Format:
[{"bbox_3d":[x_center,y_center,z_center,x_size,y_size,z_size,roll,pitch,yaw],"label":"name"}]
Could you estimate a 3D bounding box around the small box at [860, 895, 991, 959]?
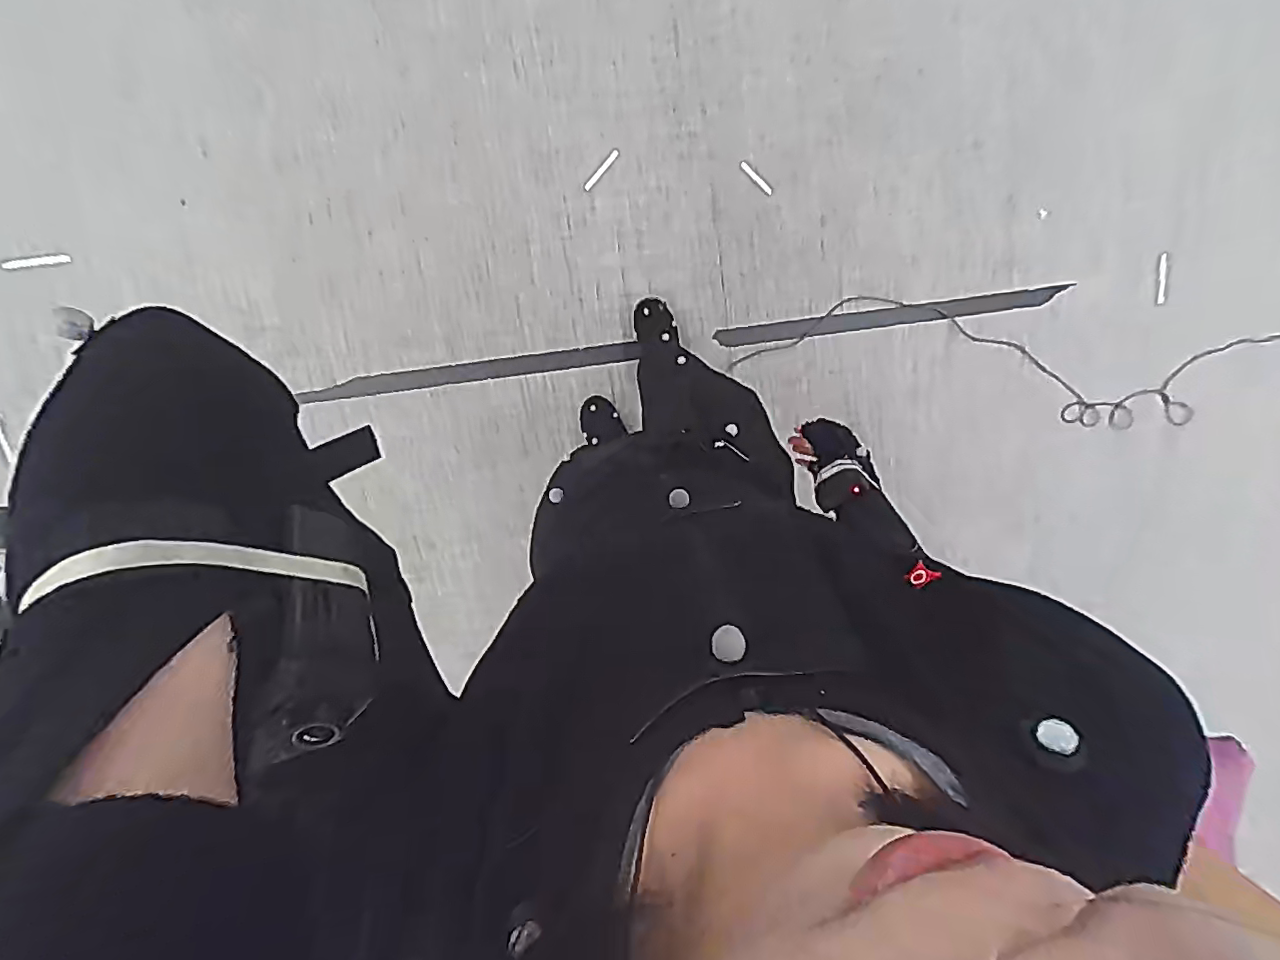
[{"bbox_3d":[0.488,0.844,0.903,0.168,0.176,0.179,1,101,-6],"label":"small box"}]
